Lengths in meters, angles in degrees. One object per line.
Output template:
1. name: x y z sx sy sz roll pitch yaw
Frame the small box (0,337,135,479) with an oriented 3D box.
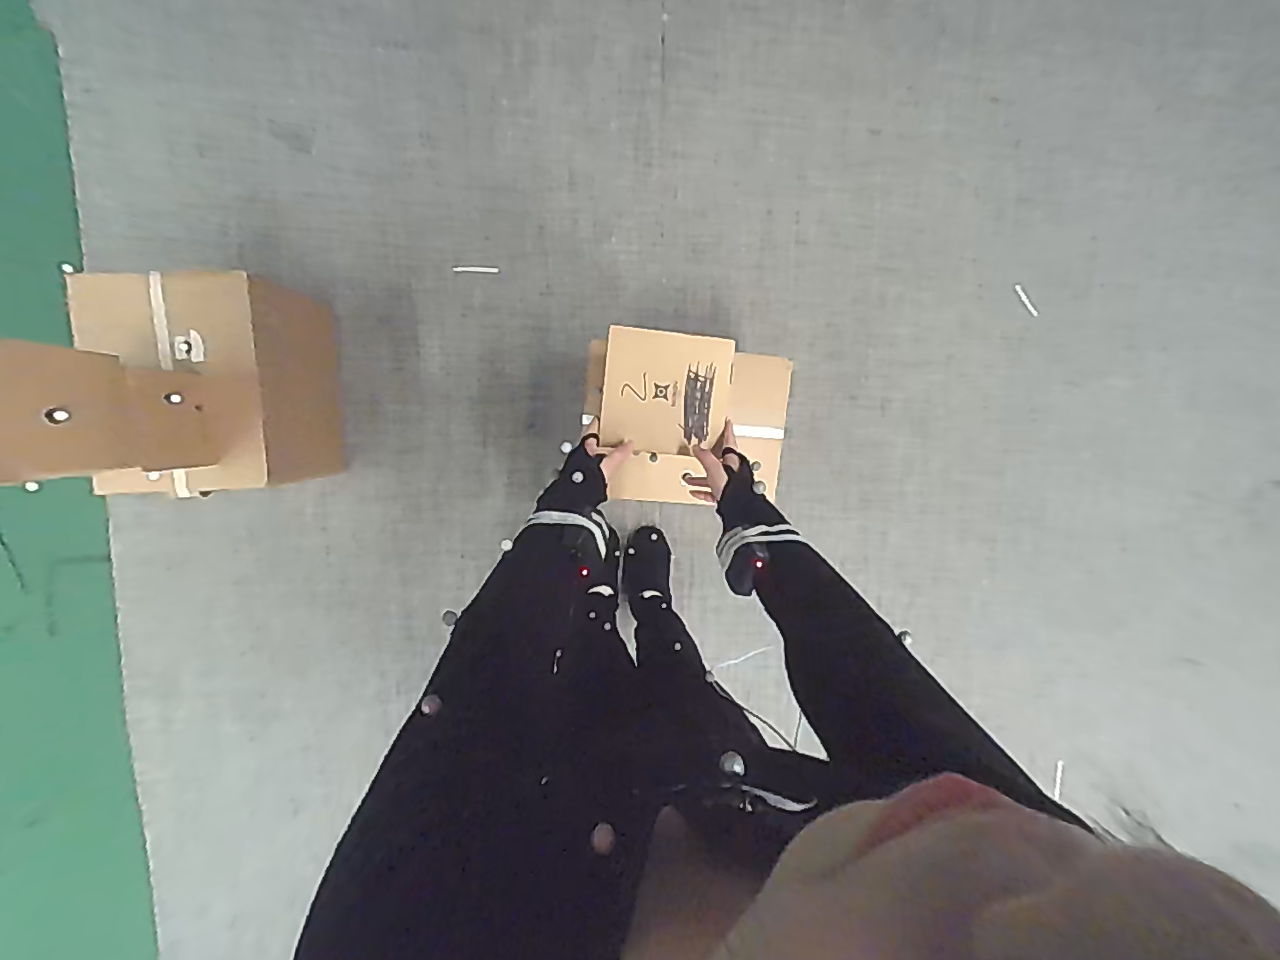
1. small box: -0.856 -0.092 0.743 0.168 0.176 0.179 -7 96 -4

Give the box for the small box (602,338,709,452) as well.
1. small box: 0.020 -0.146 0.975 0.168 0.176 0.179 5 94 -6

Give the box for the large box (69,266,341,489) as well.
1. large box: -0.873 -0.198 1.142 0.320 0.320 0.408 -2 95 -5

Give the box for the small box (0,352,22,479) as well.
1. small box: -0.841 -0.074 0.580 0.168 0.176 0.179 -5 97 -4

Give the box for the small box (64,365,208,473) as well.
1. small box: -0.869 -0.102 0.906 0.179 0.176 0.168 -3 96 -3
